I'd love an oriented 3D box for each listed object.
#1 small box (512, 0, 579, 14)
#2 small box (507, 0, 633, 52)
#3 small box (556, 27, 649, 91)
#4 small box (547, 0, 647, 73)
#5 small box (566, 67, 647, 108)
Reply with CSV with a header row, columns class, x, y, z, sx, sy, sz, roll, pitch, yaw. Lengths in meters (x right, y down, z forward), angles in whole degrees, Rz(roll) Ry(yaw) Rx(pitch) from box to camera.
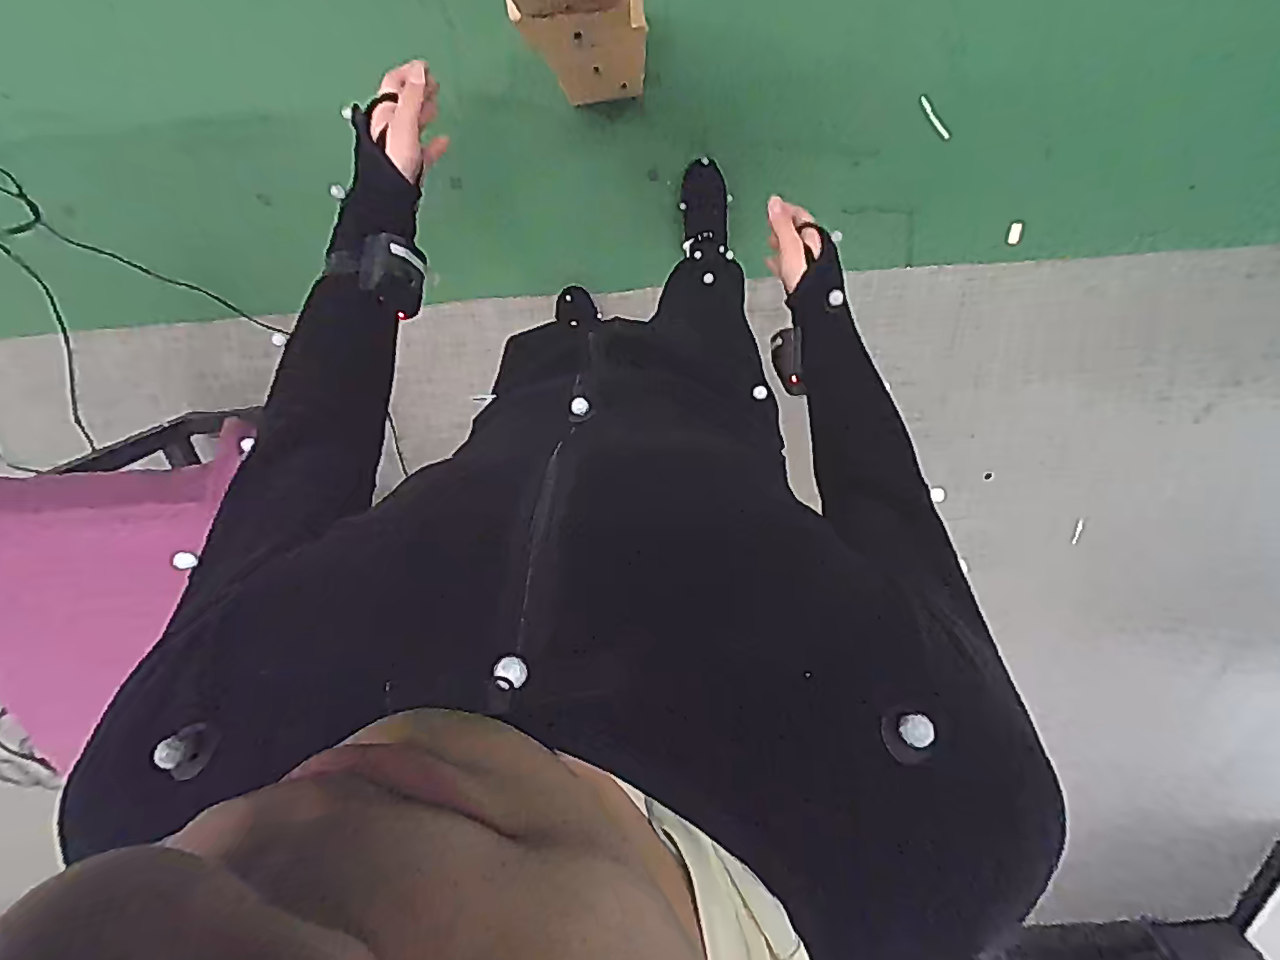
class,x,y,z,sx,sy,sz,roll,pitch,yaw
small box,-0.093,-0.666,0.600,0.179,0.176,0.168,-12,114,6
small box,-0.097,-0.724,0.753,0.168,0.176,0.179,-4,116,2
small box,-0.080,-0.874,1.043,0.179,0.176,0.168,-6,115,3
small box,-0.084,-0.804,0.895,0.179,0.176,0.168,-8,115,3
small box,-0.082,-0.942,1.190,0.179,0.176,0.168,-7,114,2
